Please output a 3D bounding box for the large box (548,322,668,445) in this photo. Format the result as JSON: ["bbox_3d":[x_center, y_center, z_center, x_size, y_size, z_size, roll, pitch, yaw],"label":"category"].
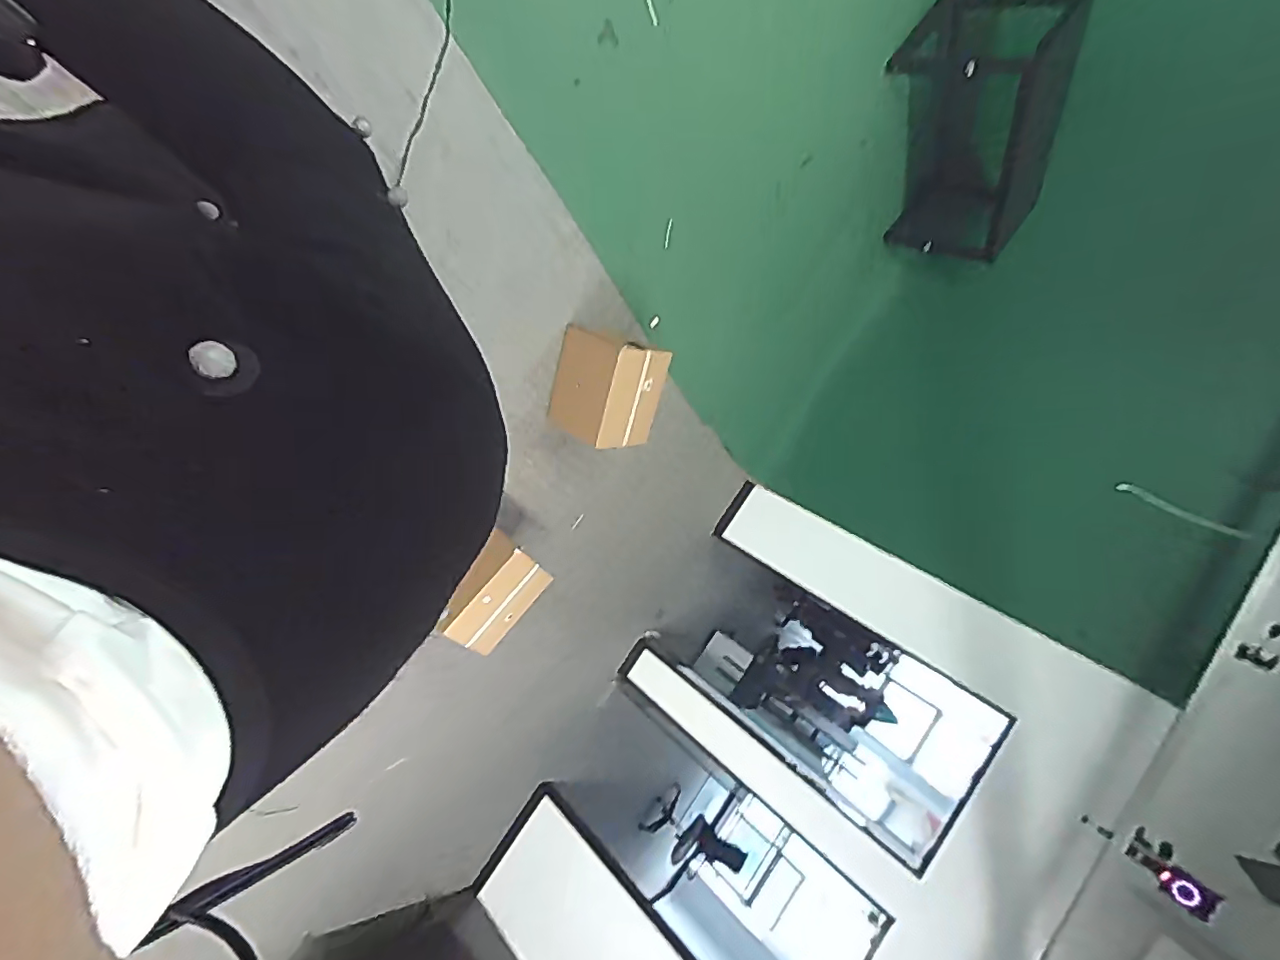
[{"bbox_3d":[-0.139,-0.396,2.208,0.320,0.320,0.408,-12,124,-49],"label":"large box"}]
